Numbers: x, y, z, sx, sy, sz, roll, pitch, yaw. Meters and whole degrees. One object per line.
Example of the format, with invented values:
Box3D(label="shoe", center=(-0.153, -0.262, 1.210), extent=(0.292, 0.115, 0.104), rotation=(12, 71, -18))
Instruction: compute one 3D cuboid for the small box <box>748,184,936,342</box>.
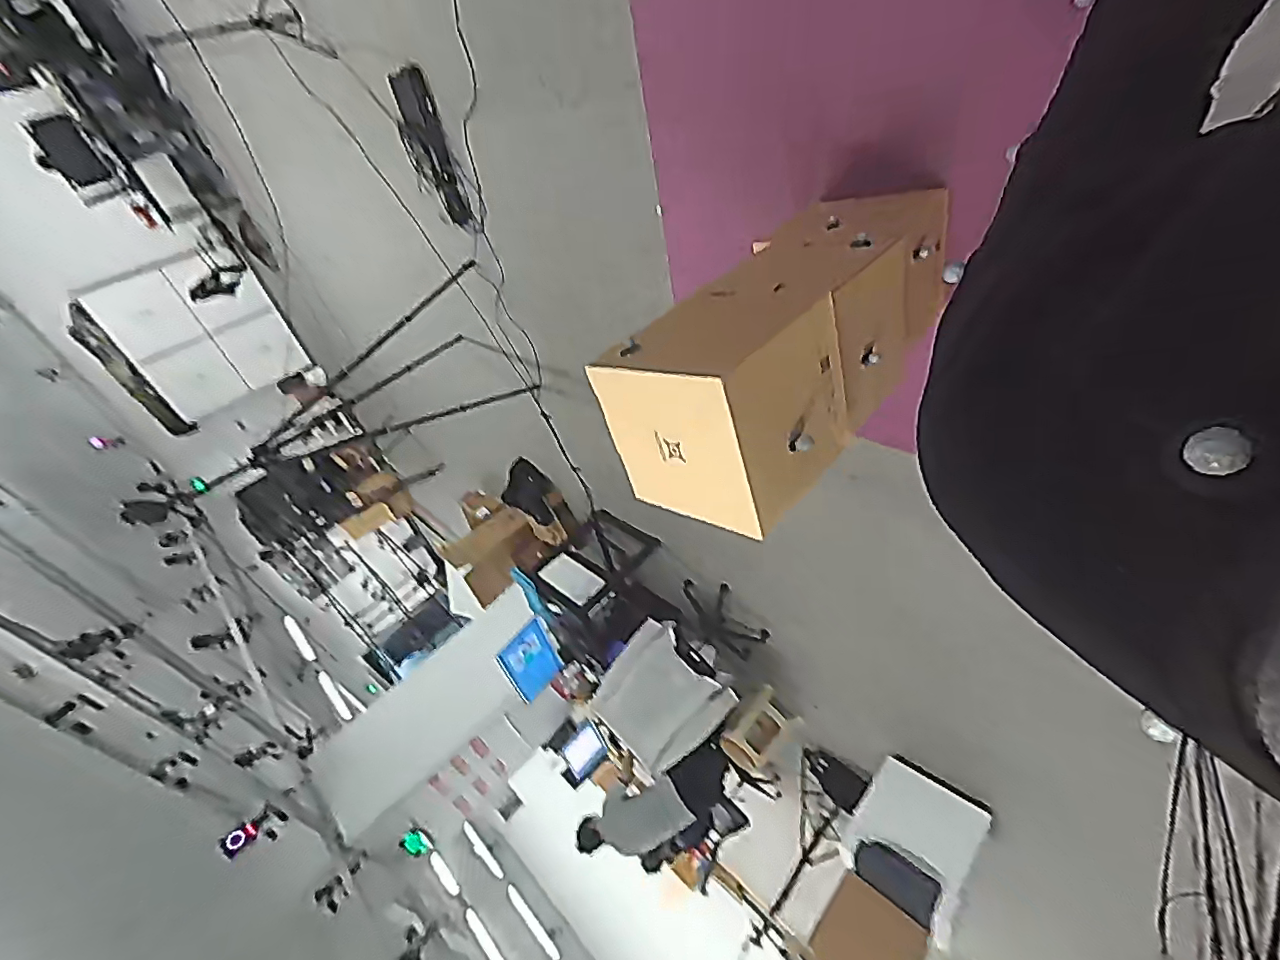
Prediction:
Box3D(label="small box", center=(0.274, -0.282, 0.728), extent=(0.179, 0.176, 0.168), rotation=(22, 141, 43))

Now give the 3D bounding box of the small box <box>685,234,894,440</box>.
Box3D(label="small box", center=(0.182, -0.178, 0.638), extent=(0.168, 0.176, 0.179), rotation=(21, 141, 43))

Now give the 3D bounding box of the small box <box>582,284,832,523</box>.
Box3D(label="small box", center=(0.078, -0.088, 0.551), extent=(0.179, 0.176, 0.168), rotation=(18, 138, 46))
